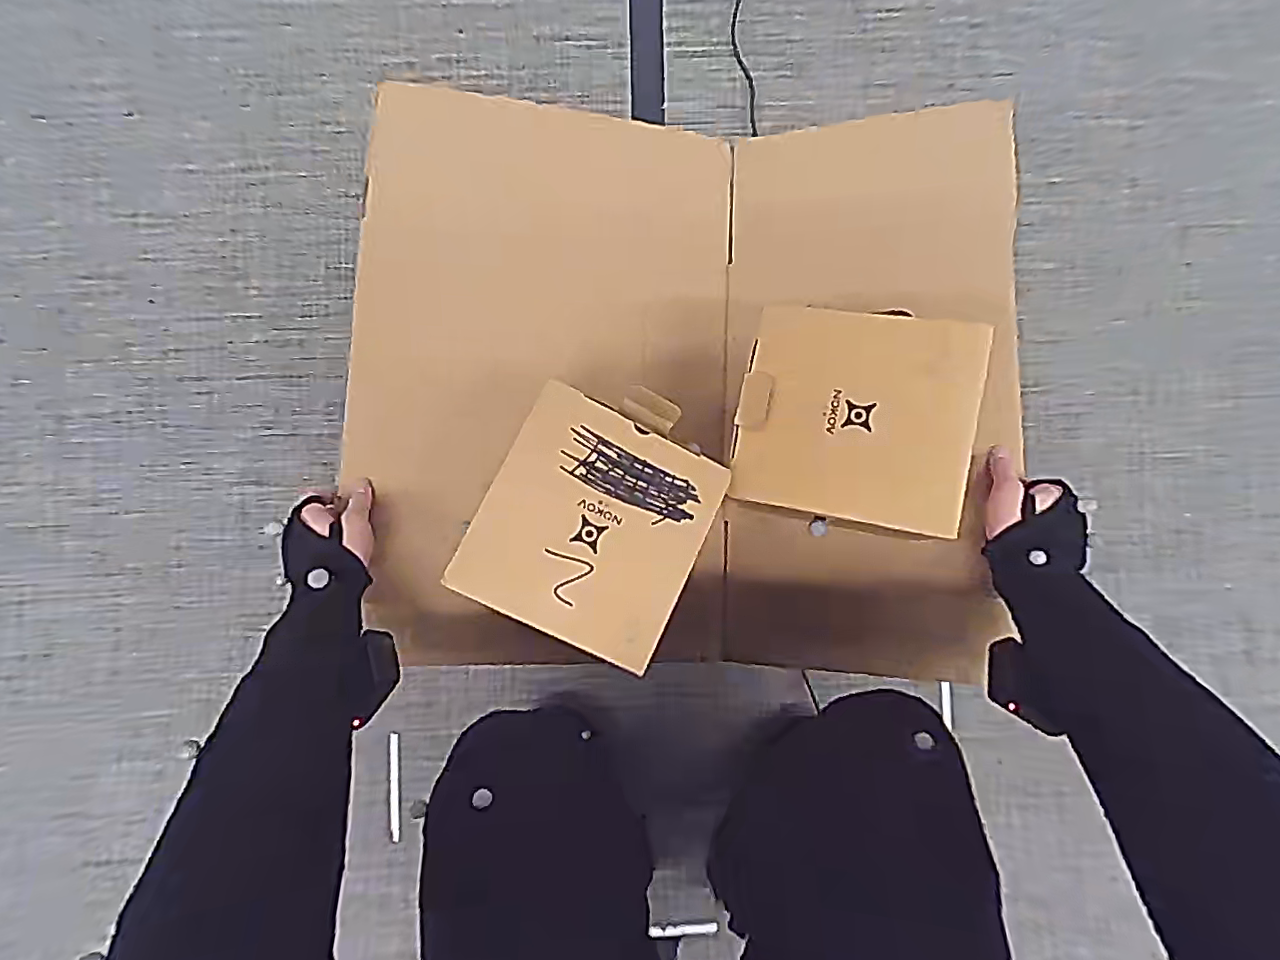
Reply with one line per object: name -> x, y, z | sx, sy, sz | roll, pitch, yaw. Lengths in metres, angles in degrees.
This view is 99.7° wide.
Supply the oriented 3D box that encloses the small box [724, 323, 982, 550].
small box -> 0.192, -0.035, 0.519 | 0.179, 0.176, 0.168 | 11, 87, 18
